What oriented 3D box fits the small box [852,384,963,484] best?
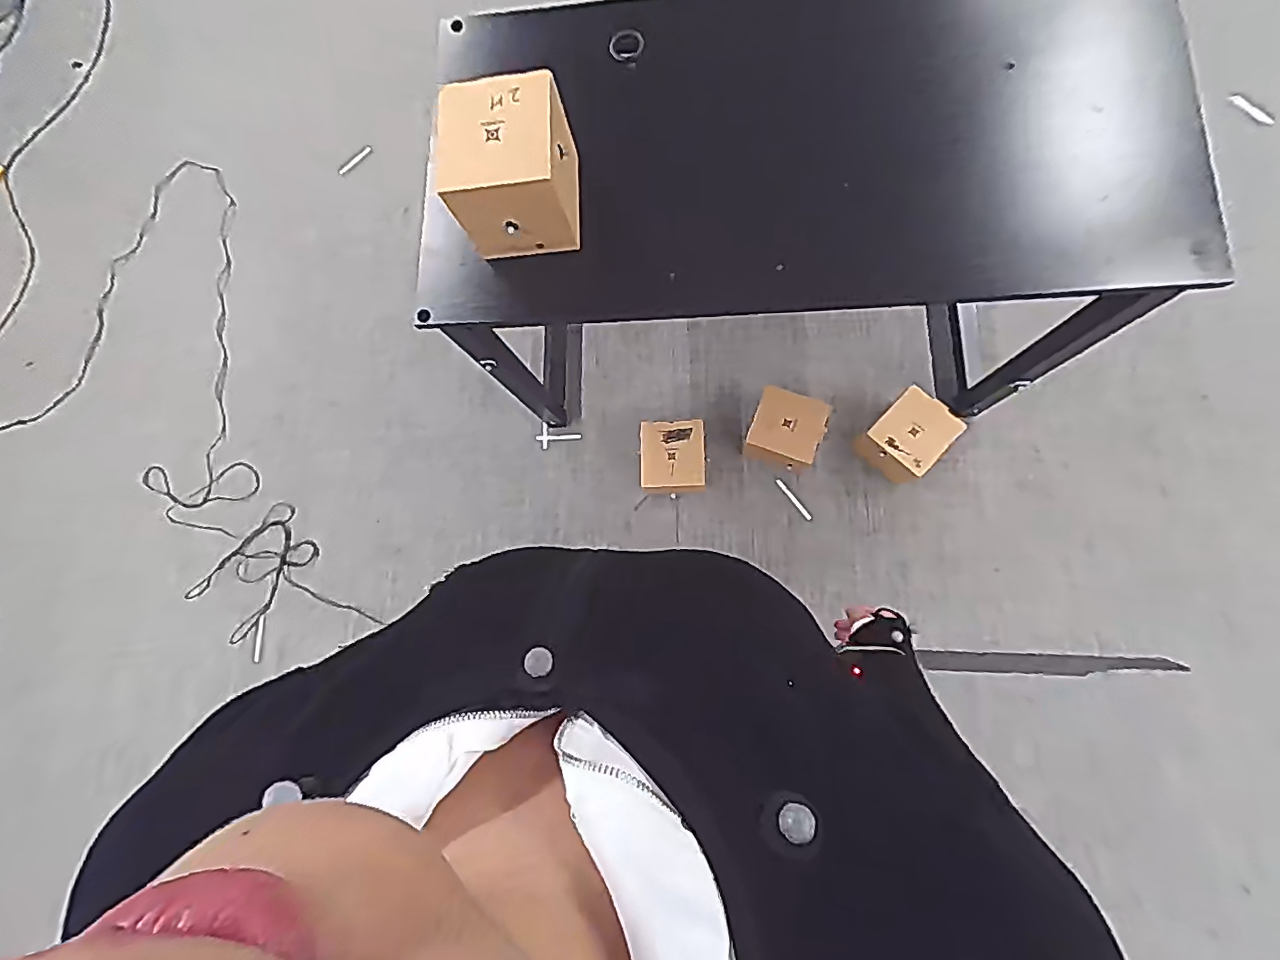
[{"bbox_3d":[0.681,-0.112,1.403,0.168,0.176,0.179,43,88,12],"label":"small box"}]

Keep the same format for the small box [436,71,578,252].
[{"bbox_3d":[-0.194,-0.472,0.831,0.168,0.176,0.179,-3,80,6],"label":"small box"}]

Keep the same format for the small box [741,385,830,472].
[{"bbox_3d":[0.382,-0.130,1.447,0.179,0.176,0.168,20,83,11],"label":"small box"}]

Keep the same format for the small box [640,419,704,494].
[{"bbox_3d":[0.090,-0.060,1.473,0.168,0.176,0.179,-2,82,7],"label":"small box"}]
